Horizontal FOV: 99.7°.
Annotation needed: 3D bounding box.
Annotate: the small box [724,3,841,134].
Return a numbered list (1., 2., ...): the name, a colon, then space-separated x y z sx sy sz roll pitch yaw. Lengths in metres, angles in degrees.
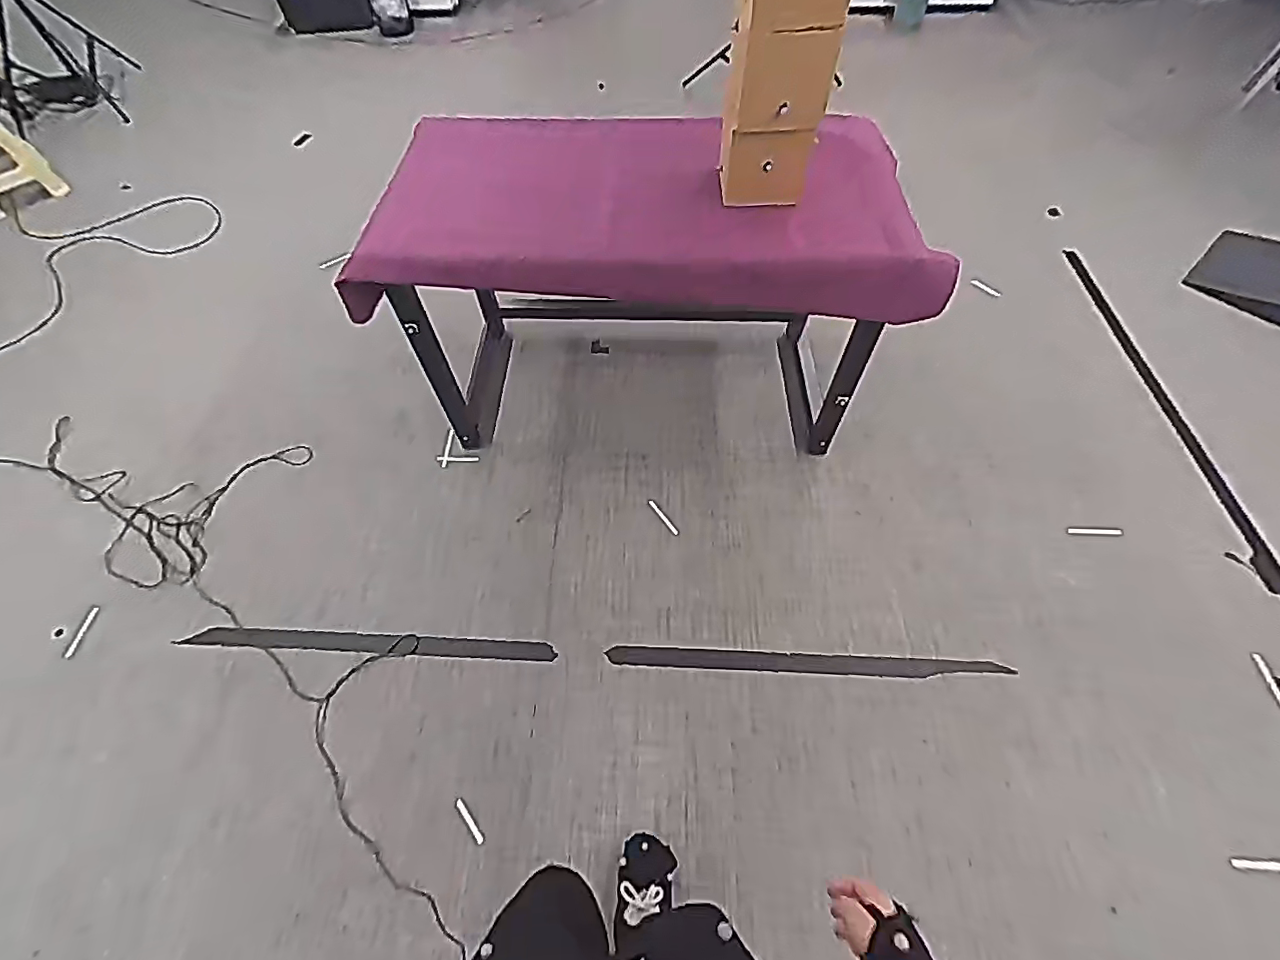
1. small box: 0.271 -0.813 1.071 0.179 0.176 0.168 -3 57 -1

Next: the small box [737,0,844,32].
1. small box: 0.267 -0.908 0.938 0.179 0.176 0.168 -3 57 0
